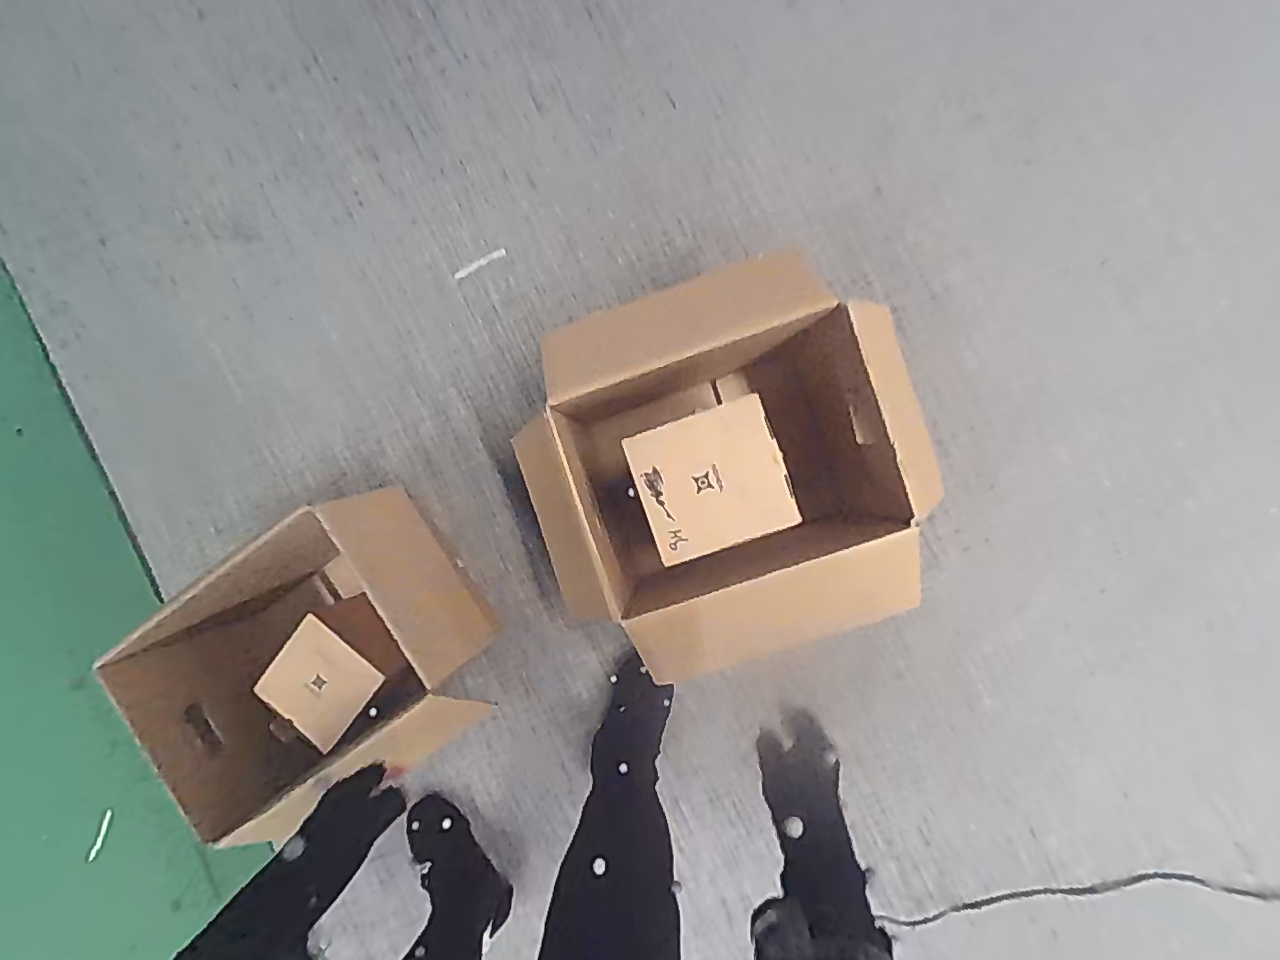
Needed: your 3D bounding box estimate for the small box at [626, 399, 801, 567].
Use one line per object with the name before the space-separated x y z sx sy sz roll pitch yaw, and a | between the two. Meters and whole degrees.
small box | 0.093 0.003 0.737 0.179 0.176 0.168 -20 88 5
